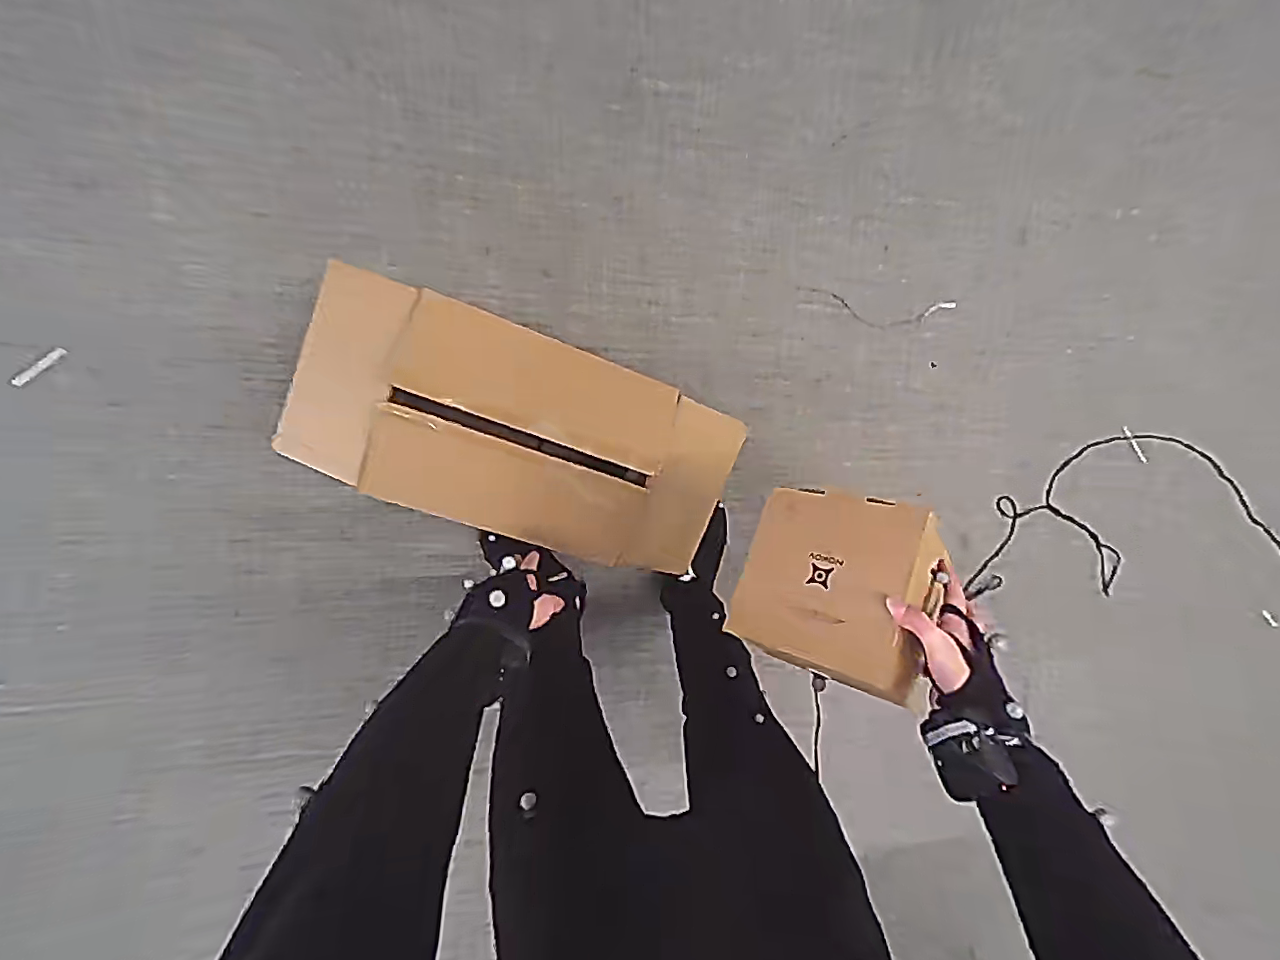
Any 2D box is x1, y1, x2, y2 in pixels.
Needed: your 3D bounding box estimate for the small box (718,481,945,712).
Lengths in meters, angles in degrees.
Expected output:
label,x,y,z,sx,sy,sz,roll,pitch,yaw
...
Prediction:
label,x,y,z,sx,sy,sz,roll,pitch,yaw
small box,0.218,0.126,0.593,0.176,0.168,0.179,40,70,-44
